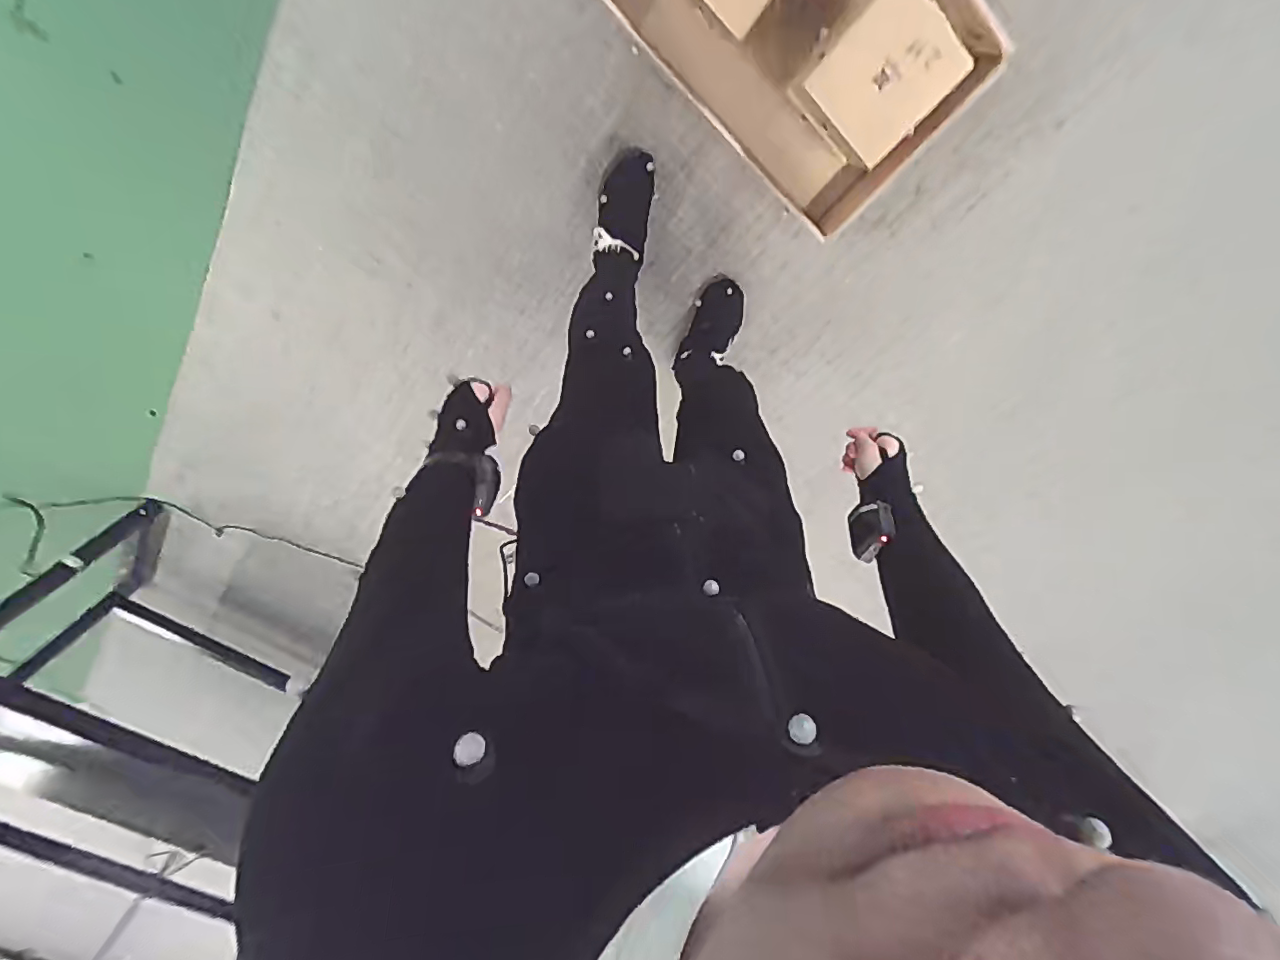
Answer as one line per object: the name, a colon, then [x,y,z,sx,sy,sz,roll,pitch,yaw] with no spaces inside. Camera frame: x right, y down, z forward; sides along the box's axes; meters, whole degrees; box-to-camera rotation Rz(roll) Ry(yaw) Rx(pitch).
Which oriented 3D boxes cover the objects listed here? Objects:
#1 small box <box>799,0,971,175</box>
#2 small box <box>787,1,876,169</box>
small box: [0.369,-0.619,0.853,0.168,0.176,0.179,39,120,-17]
small box: [0.386,-0.709,0.991,0.168,0.176,0.179,40,120,-17]
